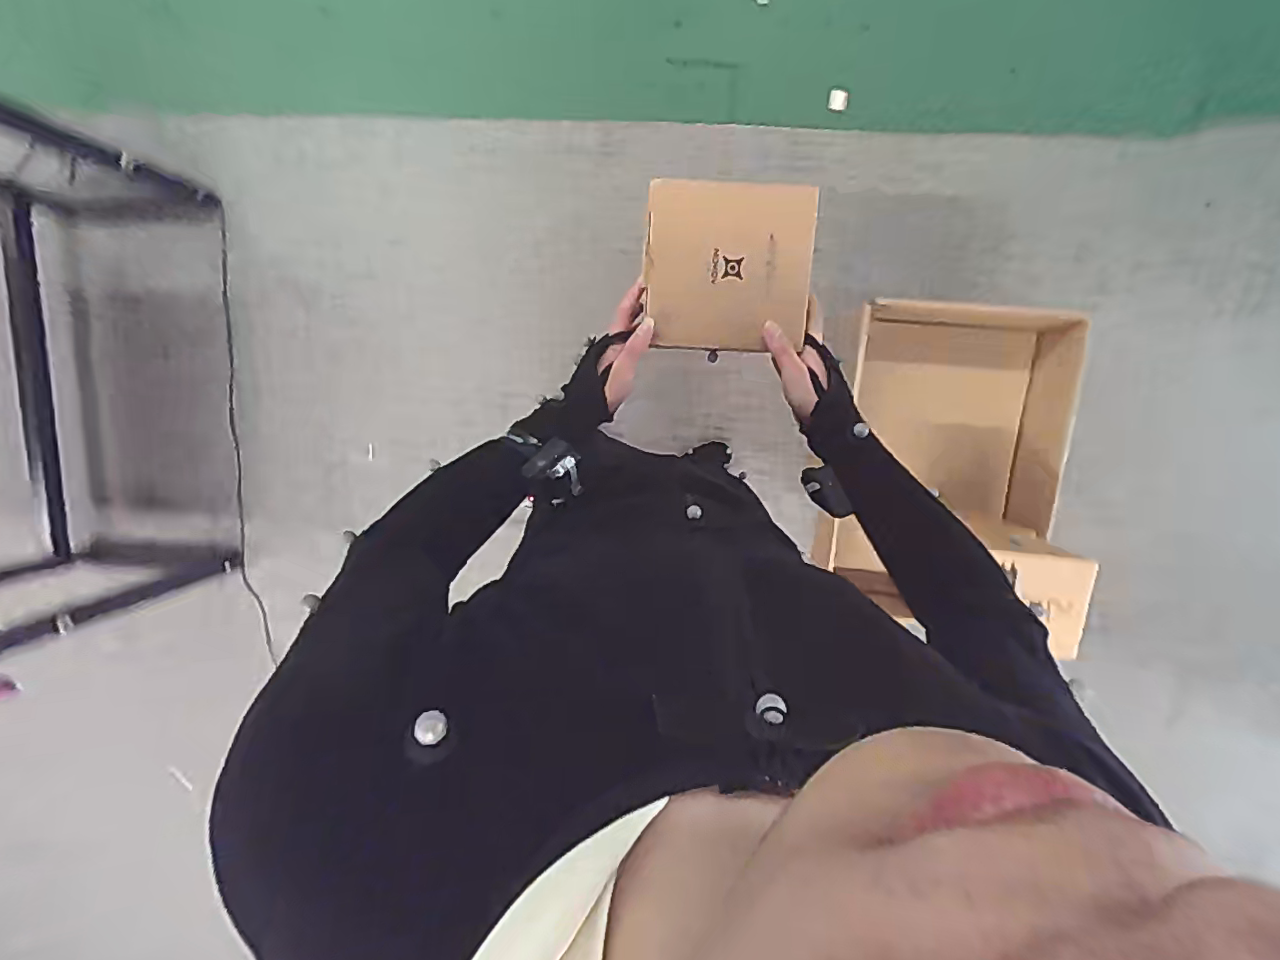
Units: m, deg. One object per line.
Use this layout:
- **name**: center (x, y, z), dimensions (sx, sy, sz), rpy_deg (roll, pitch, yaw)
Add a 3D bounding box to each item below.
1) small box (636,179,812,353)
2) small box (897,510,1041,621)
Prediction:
- **small box**: center (0.085, -0.238, 0.639), dimensions (0.179, 0.176, 0.168), rpy_deg (1, 103, -2)
- **small box**: center (0.647, 0.164, 1.086), dimensions (0.179, 0.176, 0.168), rpy_deg (7, 99, 6)
